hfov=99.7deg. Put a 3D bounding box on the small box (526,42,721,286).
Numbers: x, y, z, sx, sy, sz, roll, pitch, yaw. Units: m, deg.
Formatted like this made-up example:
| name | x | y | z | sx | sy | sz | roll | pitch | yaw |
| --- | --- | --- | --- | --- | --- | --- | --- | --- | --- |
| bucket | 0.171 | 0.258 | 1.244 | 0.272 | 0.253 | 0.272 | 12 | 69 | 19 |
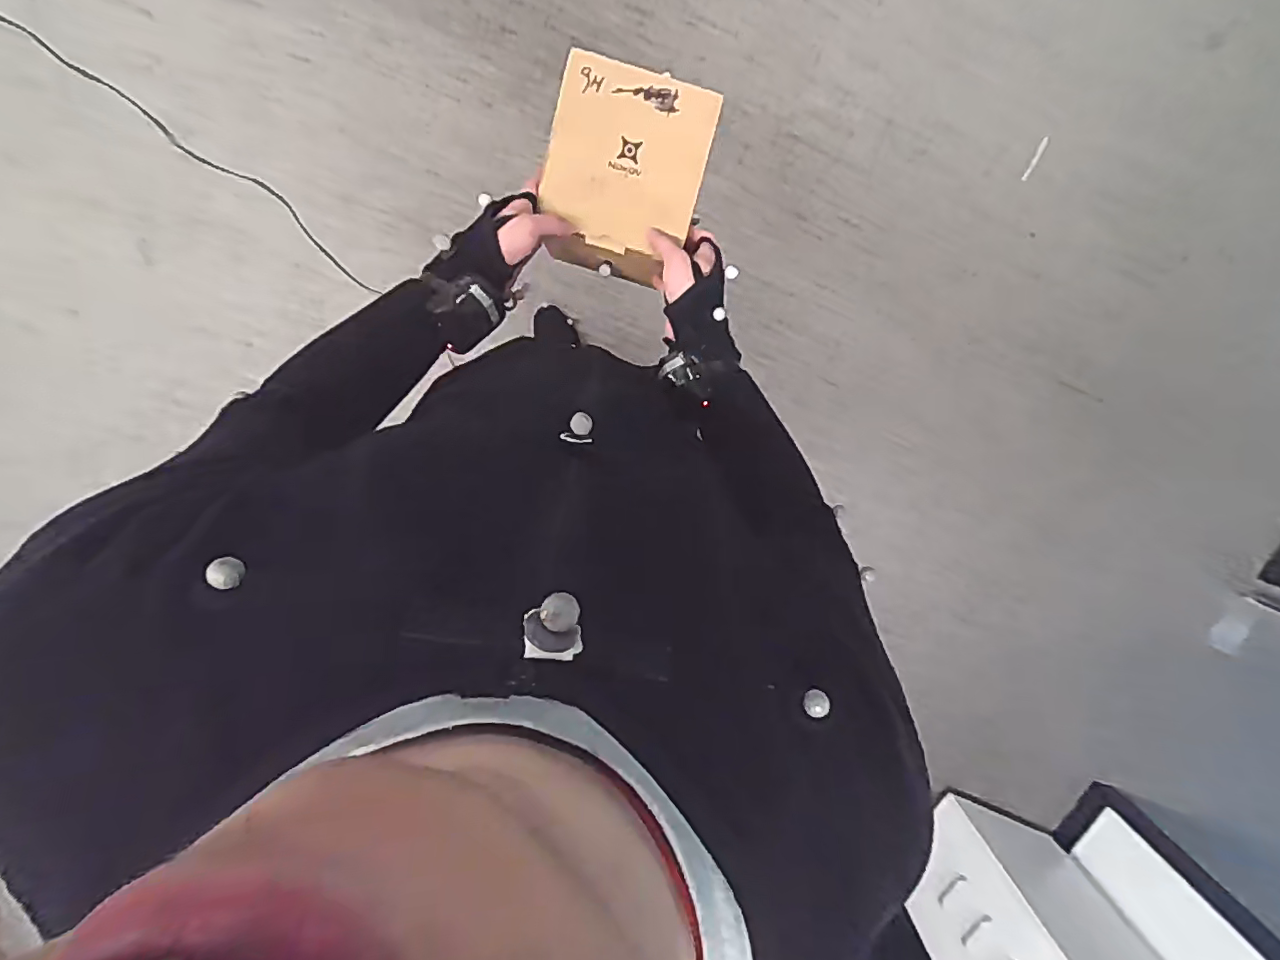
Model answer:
| name | x | y | z | sx | sy | sz | roll | pitch | yaw |
| --- | --- | --- | --- | --- | --- | --- | --- | --- | --- |
| small box | -0.019 | -0.342 | 0.628 | 0.168 | 0.176 | 0.179 | 15 | 99 | -4 |
